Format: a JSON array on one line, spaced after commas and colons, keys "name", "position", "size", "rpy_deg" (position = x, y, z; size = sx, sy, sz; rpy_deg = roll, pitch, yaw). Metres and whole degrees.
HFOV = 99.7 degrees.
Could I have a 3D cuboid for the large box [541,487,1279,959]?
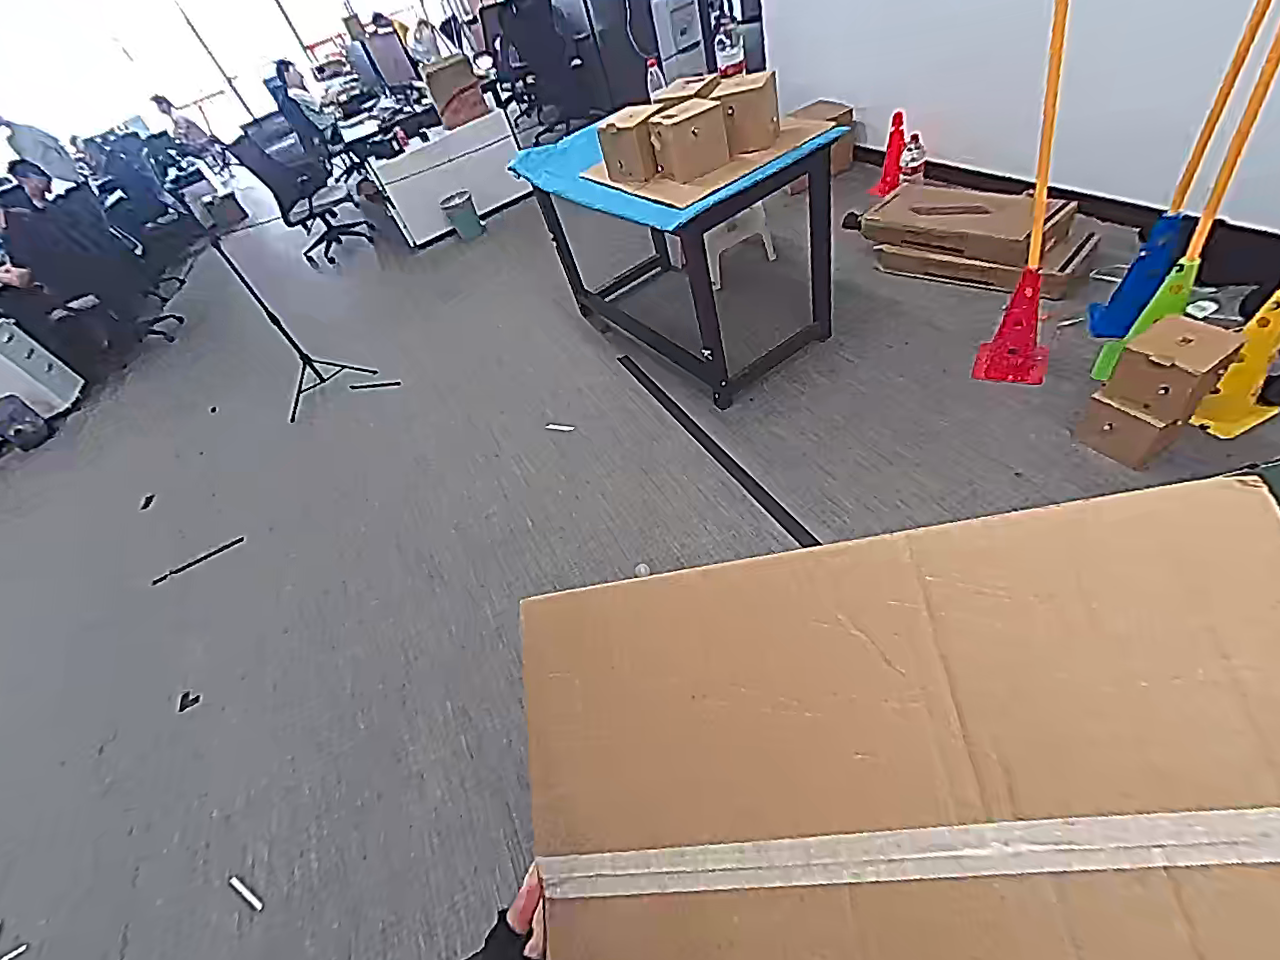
[{"name": "large box", "position": [0.180, 0.228, 0.414], "size": [0.408, 0.320, 0.320], "rpy_deg": [-12, 73, 13]}]
